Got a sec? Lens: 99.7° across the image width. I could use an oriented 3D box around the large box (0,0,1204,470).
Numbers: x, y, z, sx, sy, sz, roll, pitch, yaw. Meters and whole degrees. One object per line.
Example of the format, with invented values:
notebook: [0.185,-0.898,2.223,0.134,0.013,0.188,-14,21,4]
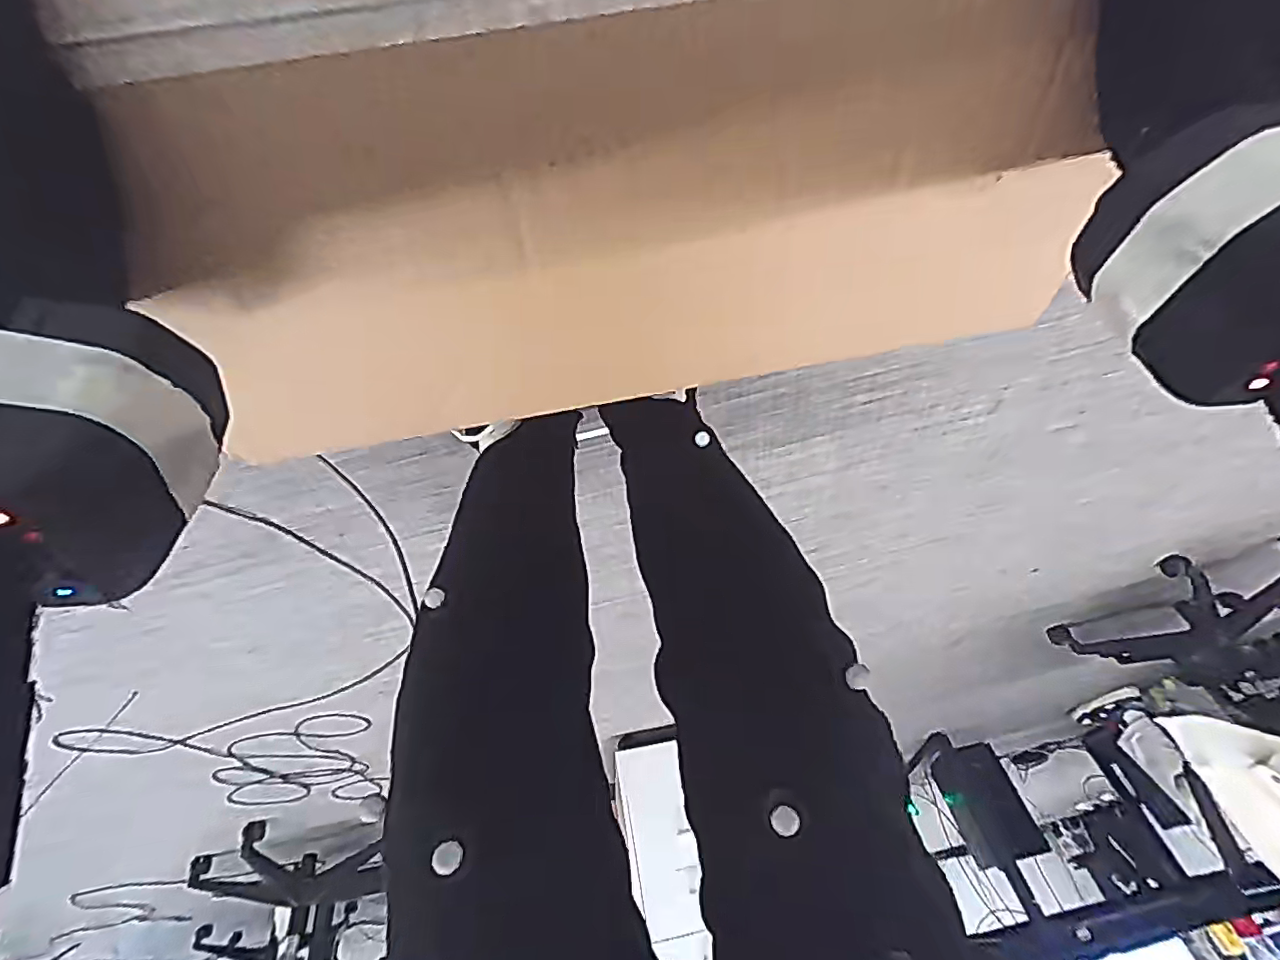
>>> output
large box: [-0.029,-0.251,0.265,0.408,0.320,0.320,-11,139,-4]
